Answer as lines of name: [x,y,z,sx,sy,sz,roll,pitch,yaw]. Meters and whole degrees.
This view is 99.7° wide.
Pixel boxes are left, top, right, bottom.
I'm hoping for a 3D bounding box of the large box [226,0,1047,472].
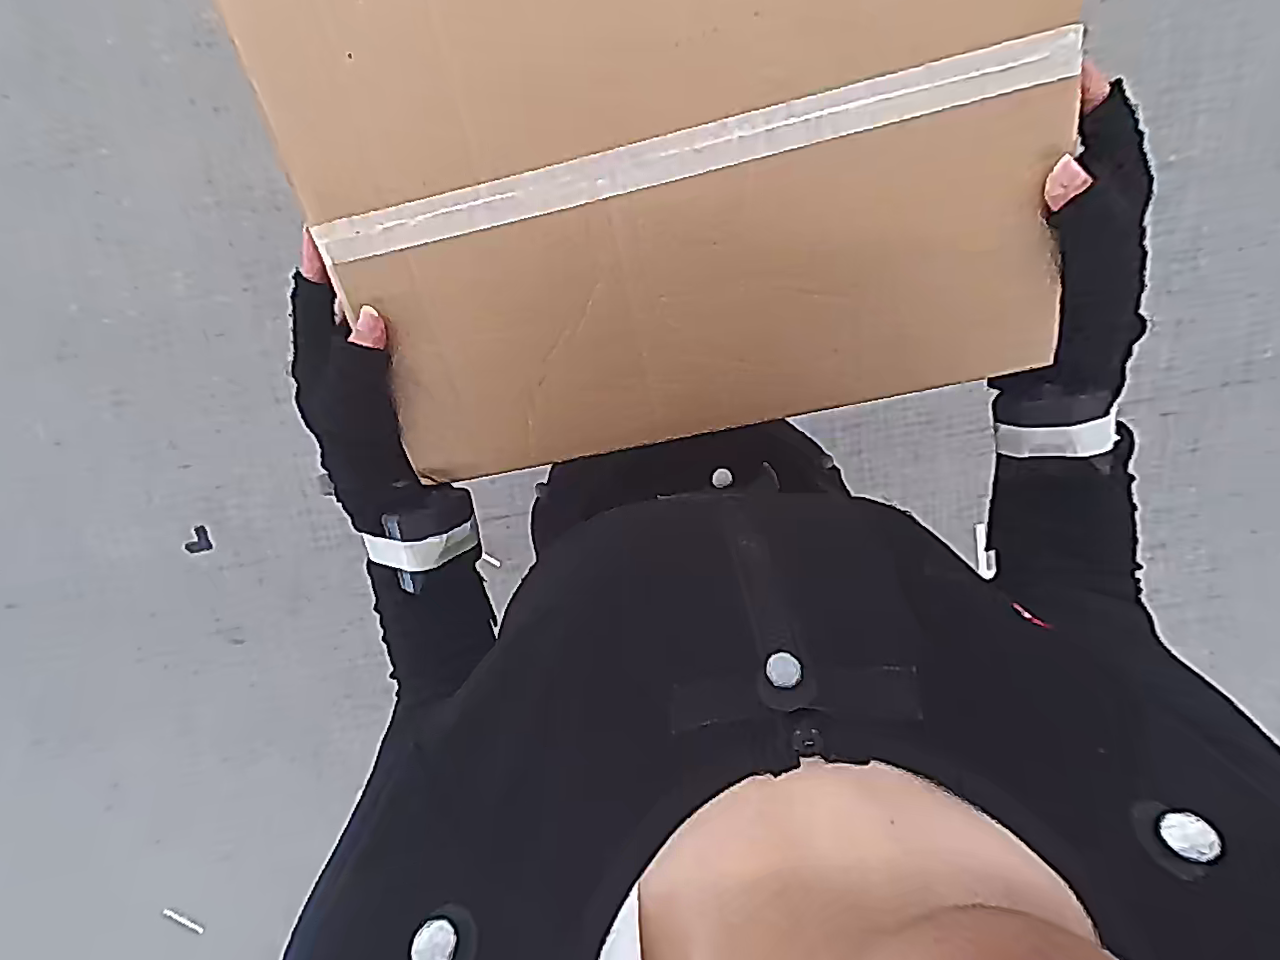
large box: [0.015,-0.241,0.431,0.408,0.320,0.320,-11,113,6]
